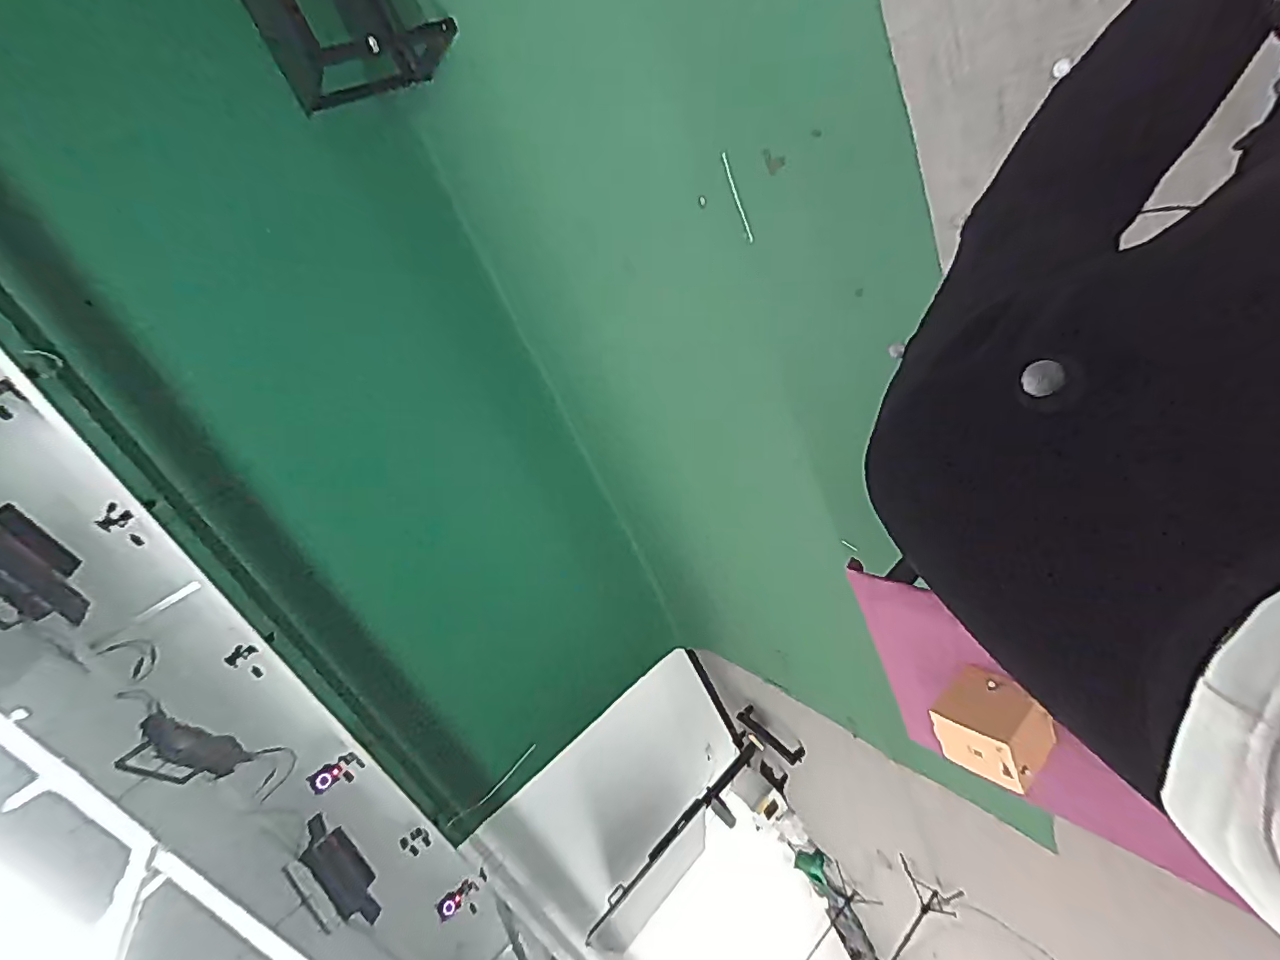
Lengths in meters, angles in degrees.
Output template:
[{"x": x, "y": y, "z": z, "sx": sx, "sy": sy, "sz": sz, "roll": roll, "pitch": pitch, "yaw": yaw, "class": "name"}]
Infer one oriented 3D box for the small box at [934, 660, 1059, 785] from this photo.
[{"x": 0.832, "y": 0.553, "z": 1.262, "sx": 0.179, "sy": 0.176, "sz": 0.168, "roll": 9, "pitch": 131, "yaw": 59, "class": "small box"}]
